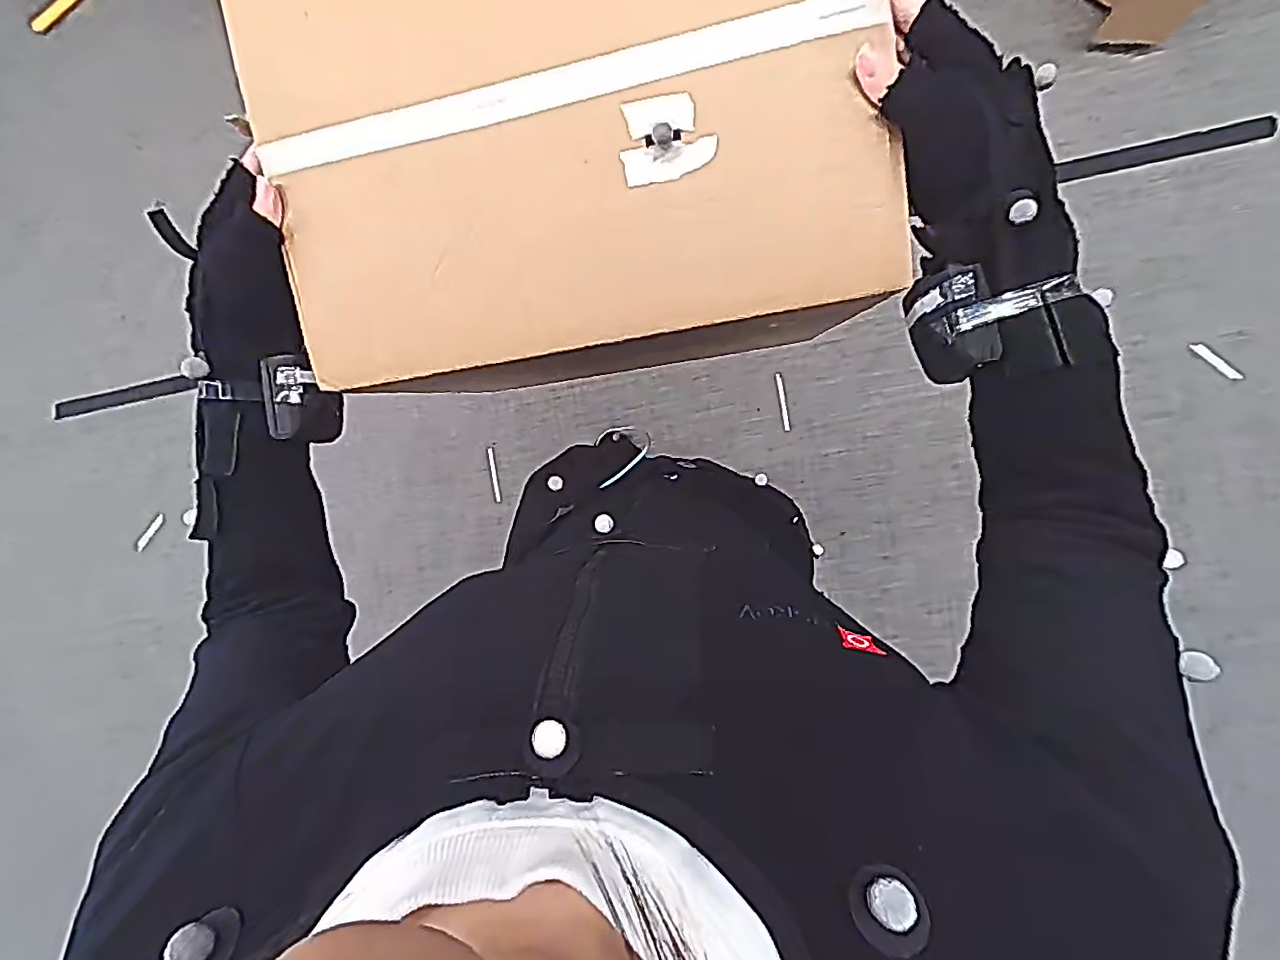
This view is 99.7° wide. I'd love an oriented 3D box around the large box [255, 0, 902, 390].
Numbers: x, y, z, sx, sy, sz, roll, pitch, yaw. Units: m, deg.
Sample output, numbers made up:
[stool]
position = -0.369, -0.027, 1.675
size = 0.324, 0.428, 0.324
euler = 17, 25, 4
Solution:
[large box]
position = -0.035, -0.272, 0.500
size = 0.408, 0.320, 0.320
euler = -8, 98, 7
